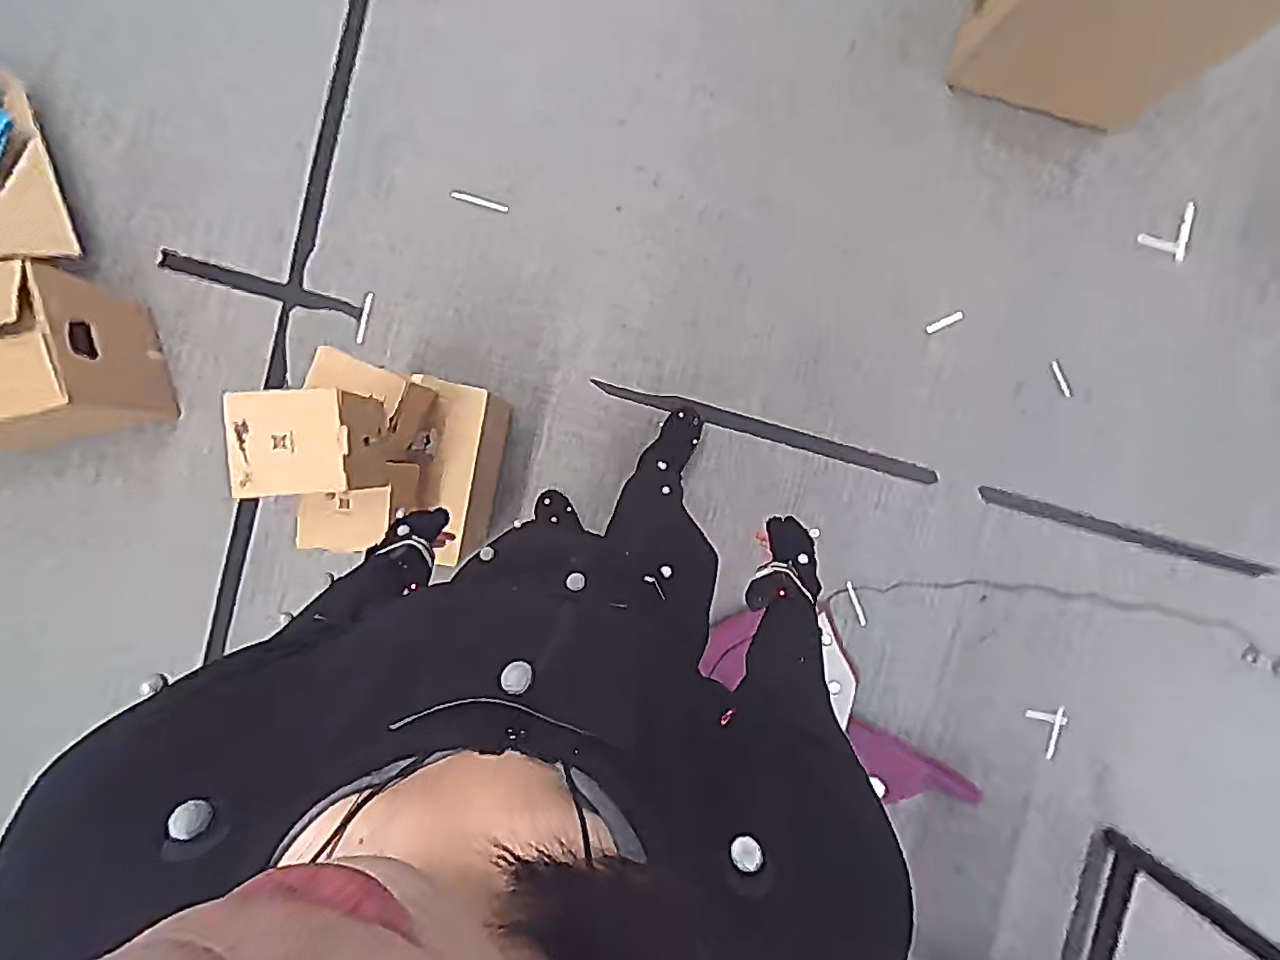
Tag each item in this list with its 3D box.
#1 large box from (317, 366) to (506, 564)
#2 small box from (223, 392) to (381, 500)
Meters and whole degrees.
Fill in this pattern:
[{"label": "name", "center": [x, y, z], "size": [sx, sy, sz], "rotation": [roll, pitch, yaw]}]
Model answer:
[{"label": "large box", "center": [-0.535, -0.031, 1.330], "size": [0.320, 0.320, 0.408], "rotation": [9, 90, -6]}, {"label": "small box", "center": [-0.558, -0.057, 0.919], "size": [0.179, 0.176, 0.168], "rotation": [-3, 92, -5]}]
